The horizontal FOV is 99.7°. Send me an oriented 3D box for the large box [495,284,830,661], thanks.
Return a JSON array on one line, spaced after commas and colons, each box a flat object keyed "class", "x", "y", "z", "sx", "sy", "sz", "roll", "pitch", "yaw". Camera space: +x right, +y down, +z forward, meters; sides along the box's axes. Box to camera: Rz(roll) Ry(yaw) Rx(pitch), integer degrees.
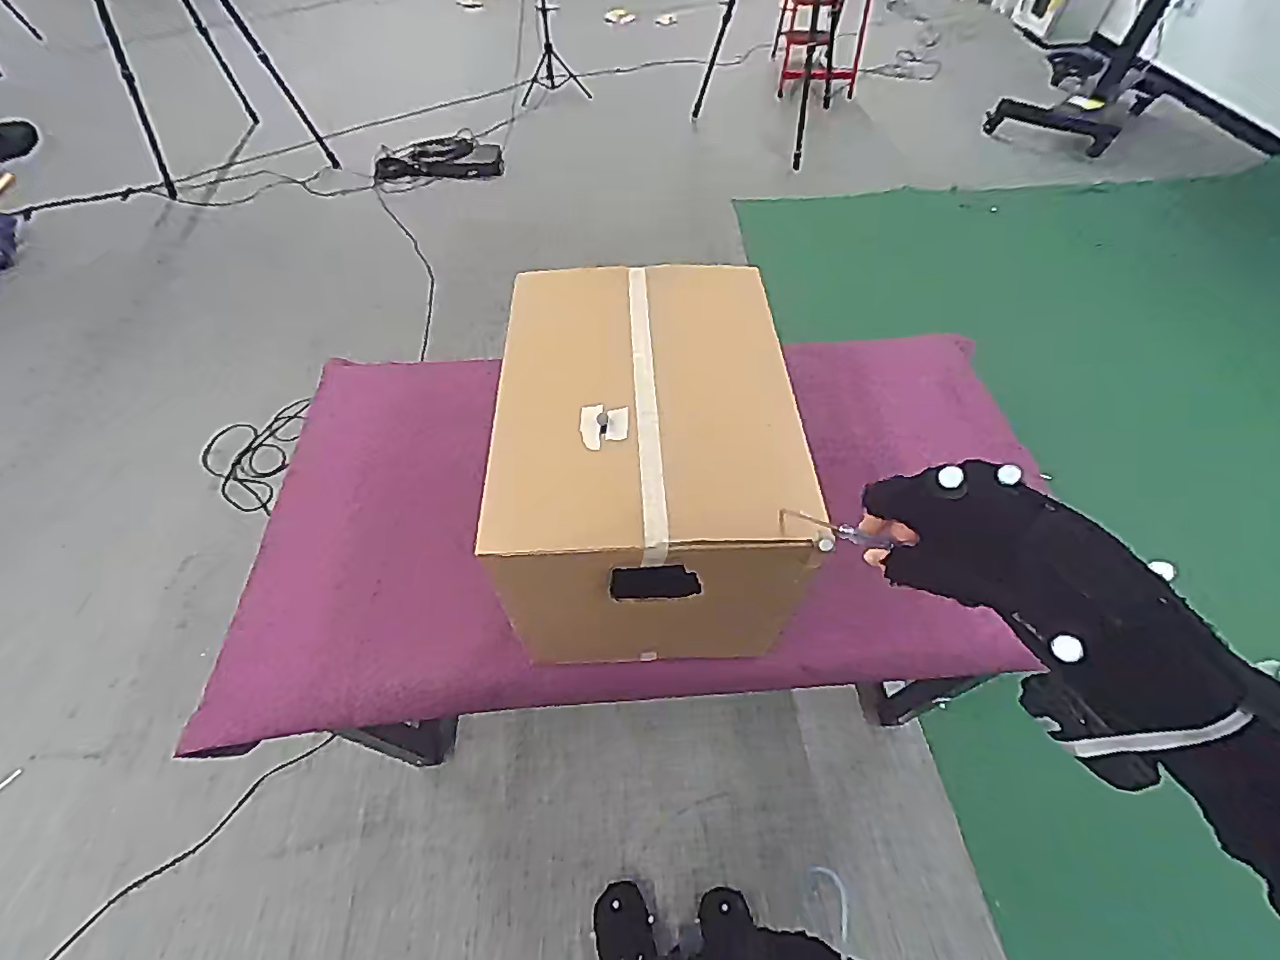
[{"class": "large box", "x": 0.009, "y": -0.007, "z": 0.720, "sx": 0.320, "sy": 0.320, "sz": 0.408, "roll": -2, "pitch": 55, "yaw": -1}]
